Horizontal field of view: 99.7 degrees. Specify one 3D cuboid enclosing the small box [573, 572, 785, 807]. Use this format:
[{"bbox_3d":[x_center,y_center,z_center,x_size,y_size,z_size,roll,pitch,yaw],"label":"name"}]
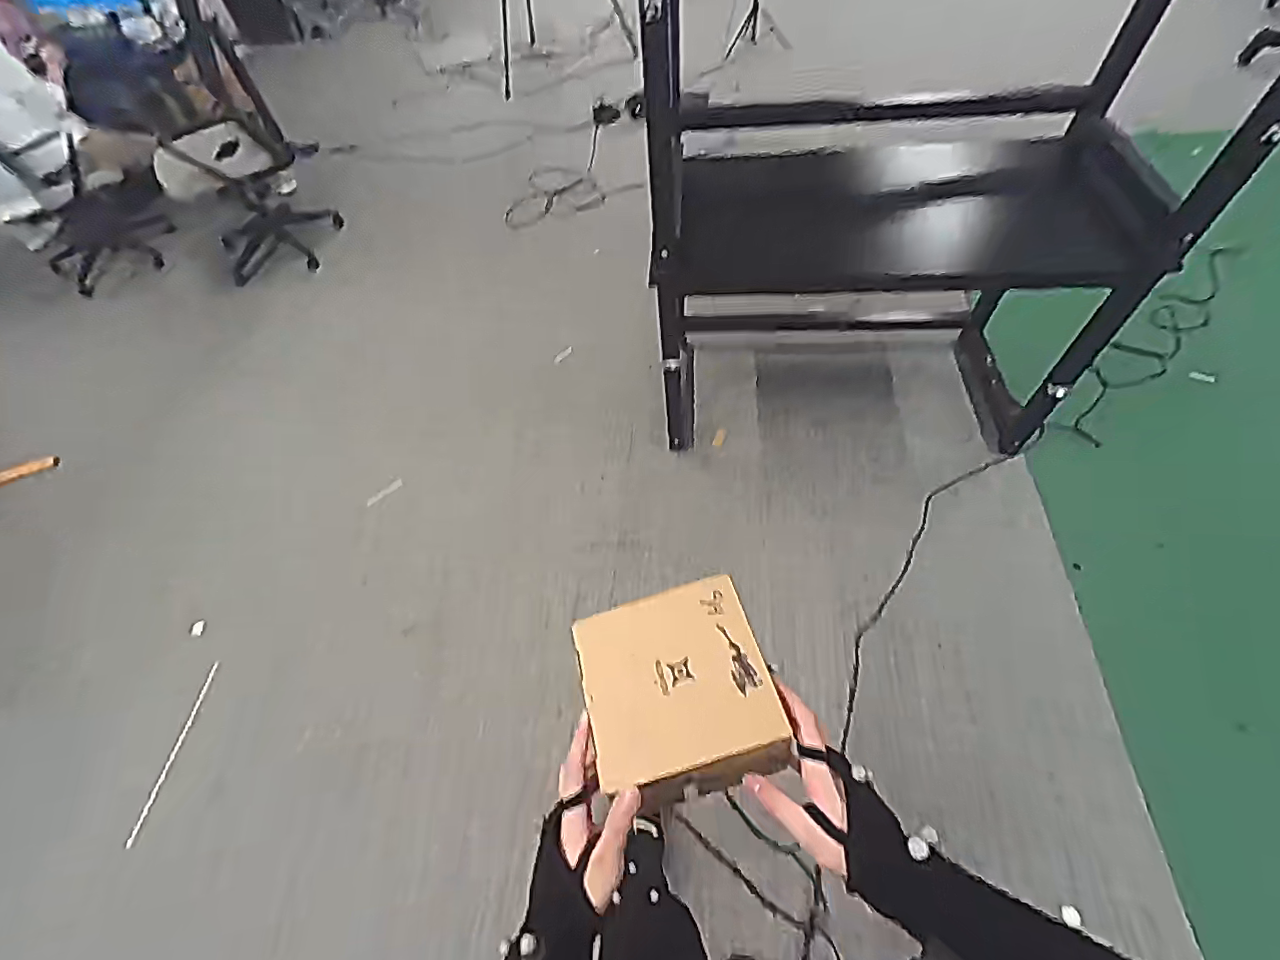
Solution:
[{"bbox_3d":[0.045,0.229,0.578,0.179,0.176,0.168,-17,50,0],"label":"small box"}]
